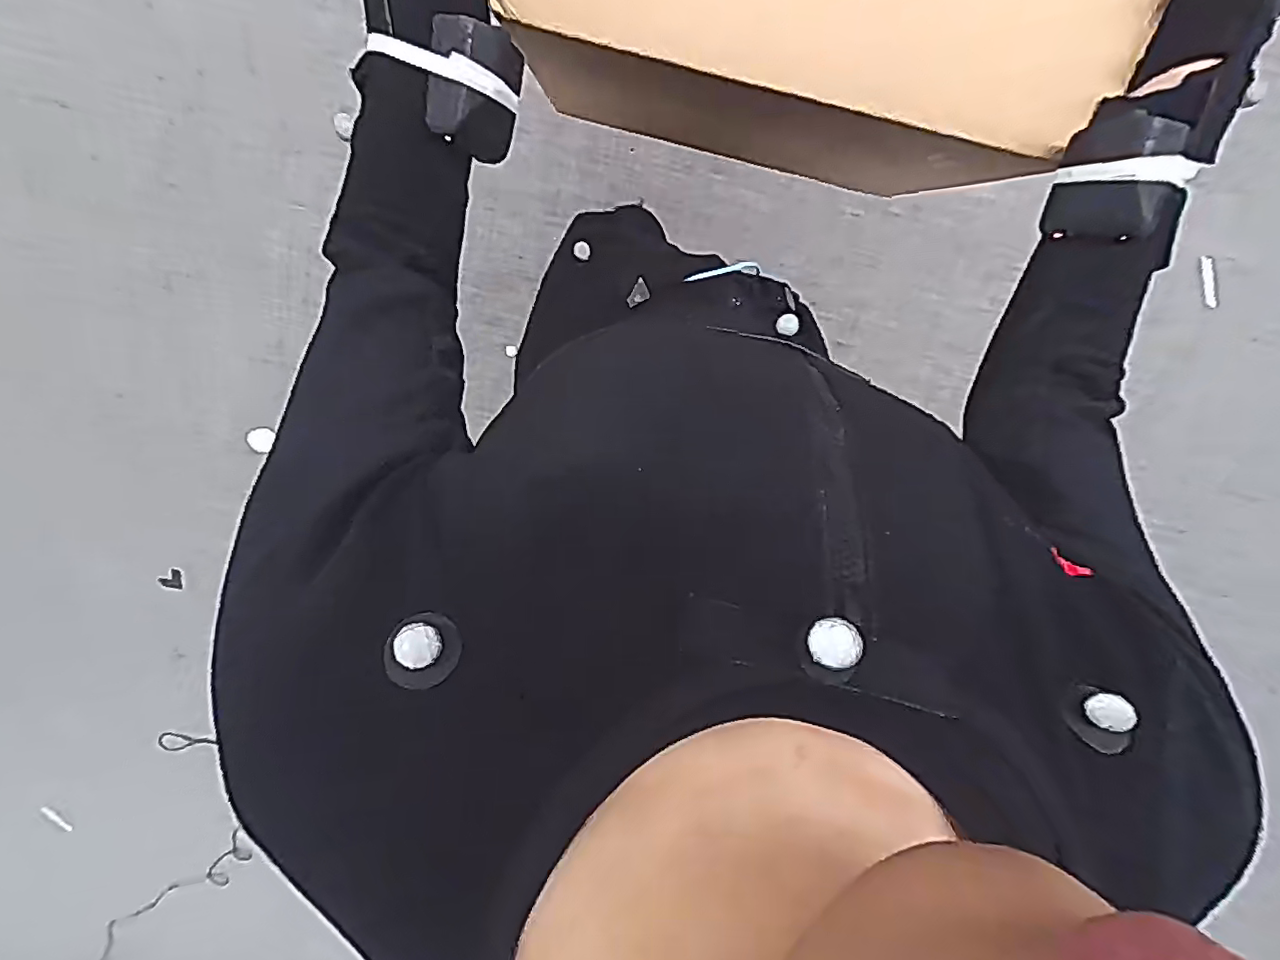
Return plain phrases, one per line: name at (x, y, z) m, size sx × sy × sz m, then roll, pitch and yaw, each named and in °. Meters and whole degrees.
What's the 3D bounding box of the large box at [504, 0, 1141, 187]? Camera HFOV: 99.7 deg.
large box at (0.130, -0.454, 0.432) m, size 0.408 × 0.320 × 0.320 m, roll 10°, pitch 115°, yaw -7°
